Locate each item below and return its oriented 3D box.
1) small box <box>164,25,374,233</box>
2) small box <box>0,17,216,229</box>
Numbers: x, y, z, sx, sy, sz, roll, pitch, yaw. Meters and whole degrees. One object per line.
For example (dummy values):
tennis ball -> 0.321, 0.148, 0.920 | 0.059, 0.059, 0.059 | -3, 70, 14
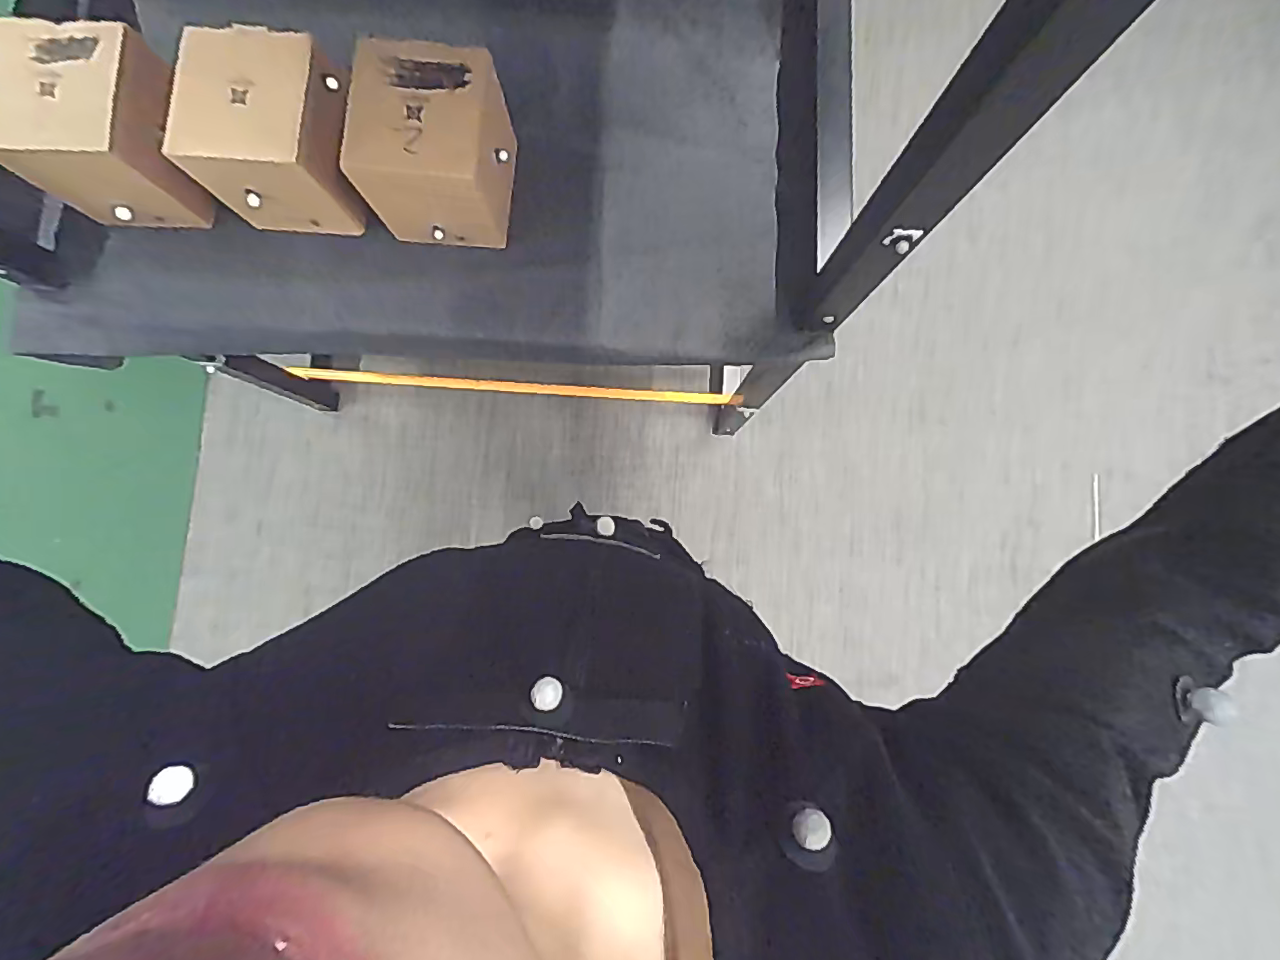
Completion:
small box -> -0.488, -0.464, 0.740 | 0.168, 0.176, 0.179 | 4, 83, -1
small box -> -0.715, -0.473, 0.736 | 0.168, 0.176, 0.179 | 1, 84, 0
